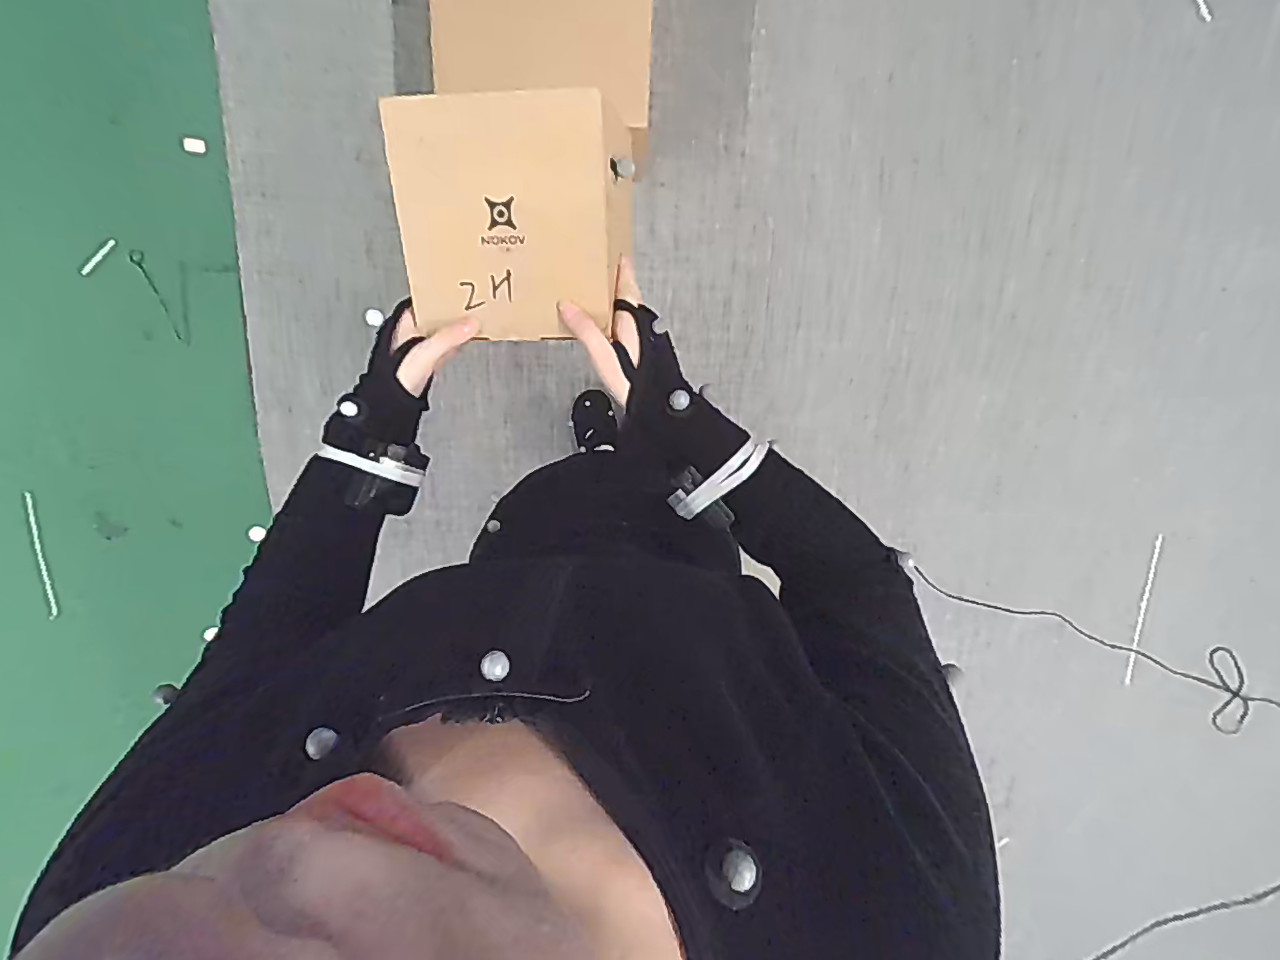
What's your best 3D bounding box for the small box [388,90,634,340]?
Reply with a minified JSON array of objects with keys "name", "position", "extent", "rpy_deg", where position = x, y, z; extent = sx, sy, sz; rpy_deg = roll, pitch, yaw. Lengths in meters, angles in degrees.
[{"name":"small box","position":[-0.098,-0.230,0.498],"extent":[0.168,0.176,0.179],"rpy_deg":[2,113,7]}]
